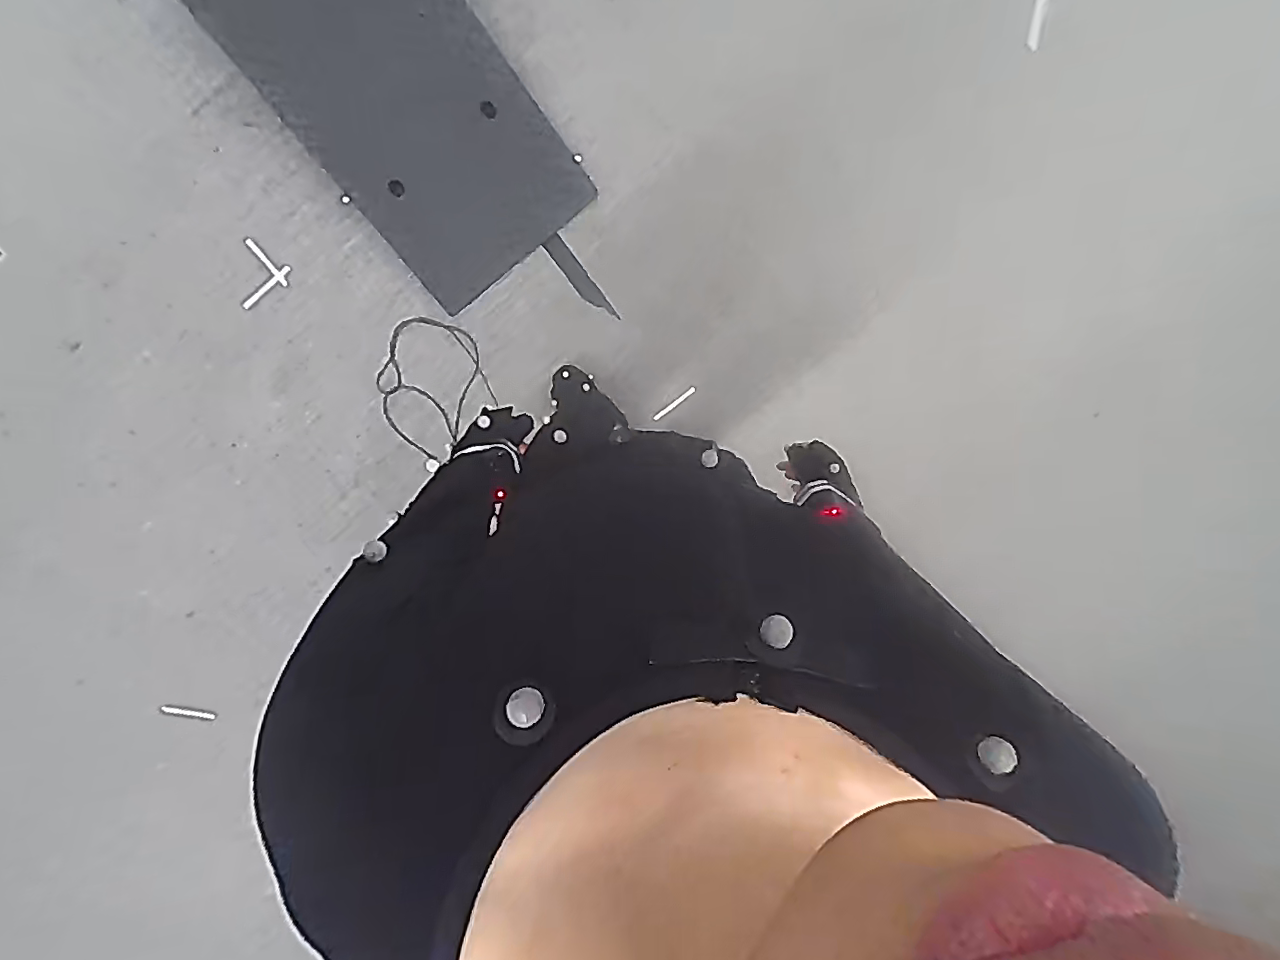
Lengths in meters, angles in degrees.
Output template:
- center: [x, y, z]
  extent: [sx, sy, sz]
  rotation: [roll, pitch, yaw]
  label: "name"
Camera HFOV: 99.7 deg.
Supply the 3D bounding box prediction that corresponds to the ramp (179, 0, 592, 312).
- center: [-0.597, -0.940, 1.223]
  extent: [0.509, 0.206, 0.991]
  rotation: [-40, 99, 2]
  label: "ramp"
